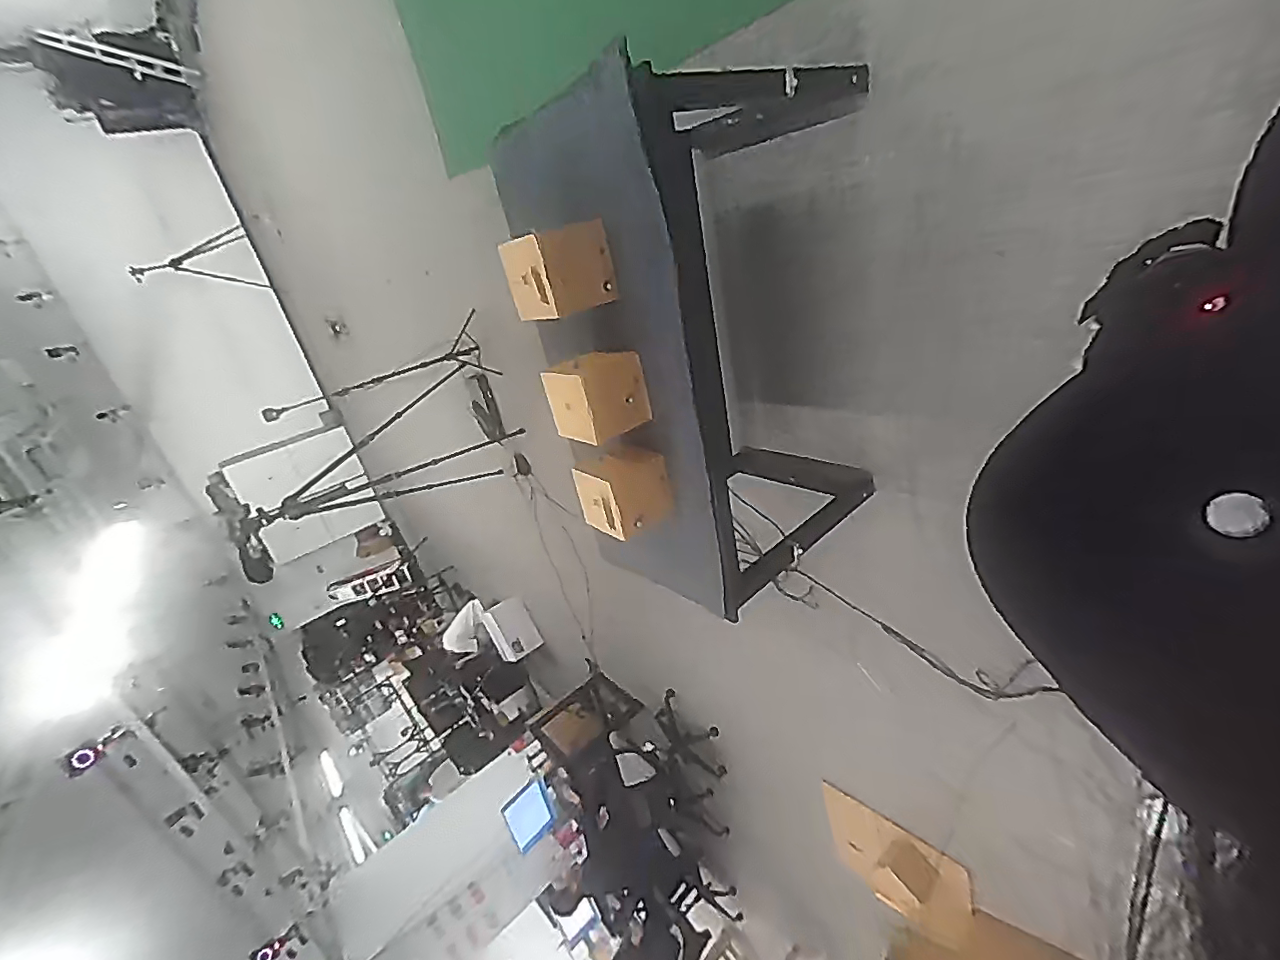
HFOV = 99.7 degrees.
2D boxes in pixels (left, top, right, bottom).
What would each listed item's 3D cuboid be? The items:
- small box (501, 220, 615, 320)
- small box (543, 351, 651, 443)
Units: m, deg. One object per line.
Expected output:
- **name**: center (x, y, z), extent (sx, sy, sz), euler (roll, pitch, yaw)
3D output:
- **small box**: center (-0.171, -0.456, 1.181), extent (0.179, 0.176, 0.168), euler (17, 128, 50)
- **small box**: center (-0.099, -0.203, 1.284), extent (0.179, 0.176, 0.168), euler (16, 127, 48)
